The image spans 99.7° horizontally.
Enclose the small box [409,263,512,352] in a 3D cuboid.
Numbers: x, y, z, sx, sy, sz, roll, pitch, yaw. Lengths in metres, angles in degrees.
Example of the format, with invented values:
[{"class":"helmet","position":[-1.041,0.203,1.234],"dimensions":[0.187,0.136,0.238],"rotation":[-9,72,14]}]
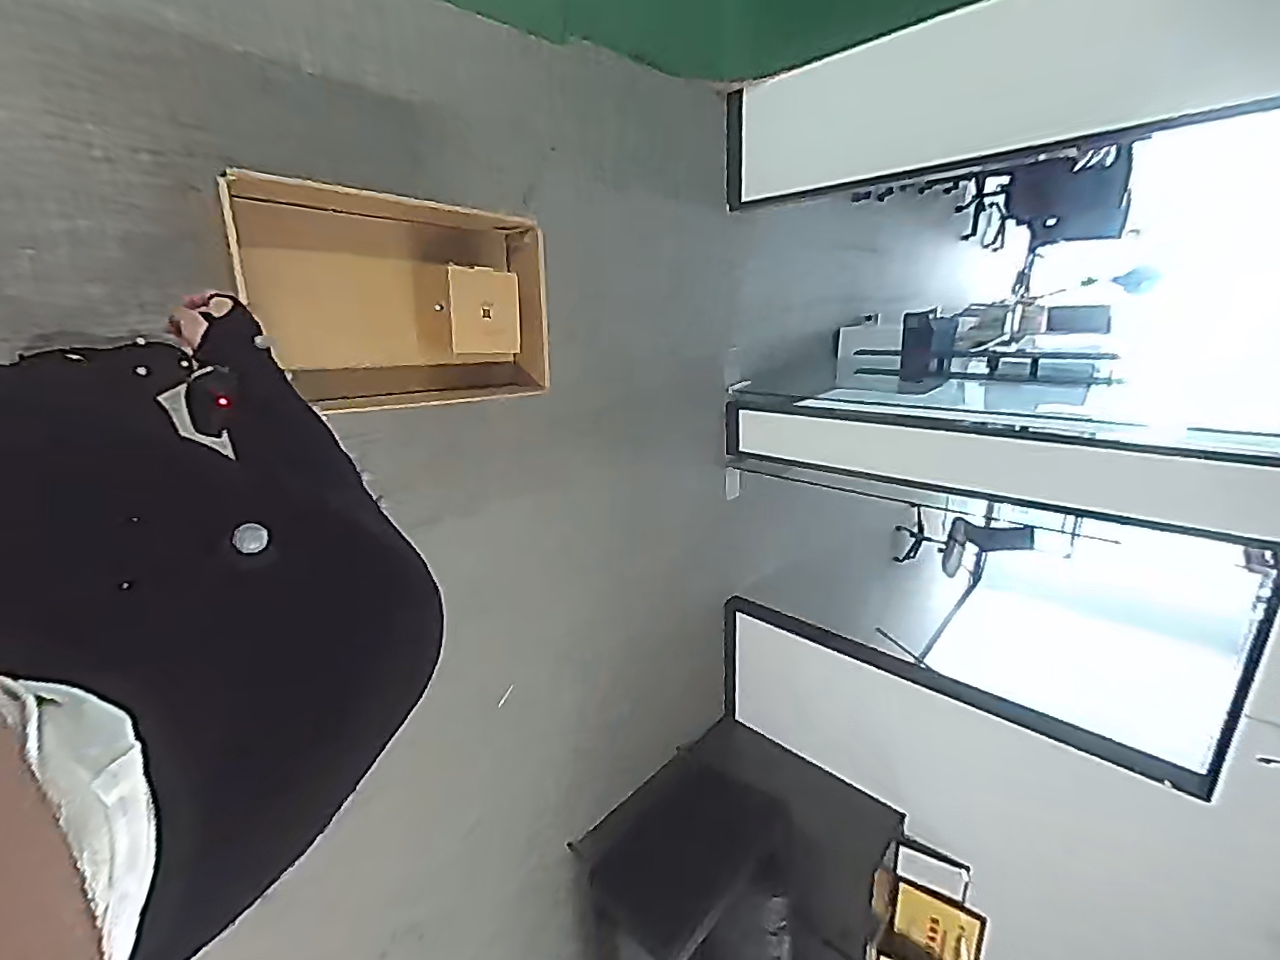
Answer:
[{"class":"small box","position":[-0.407,-0.383,1.223],"dimensions":[0.168,0.176,0.179],"rotation":[-13,111,-45]}]
